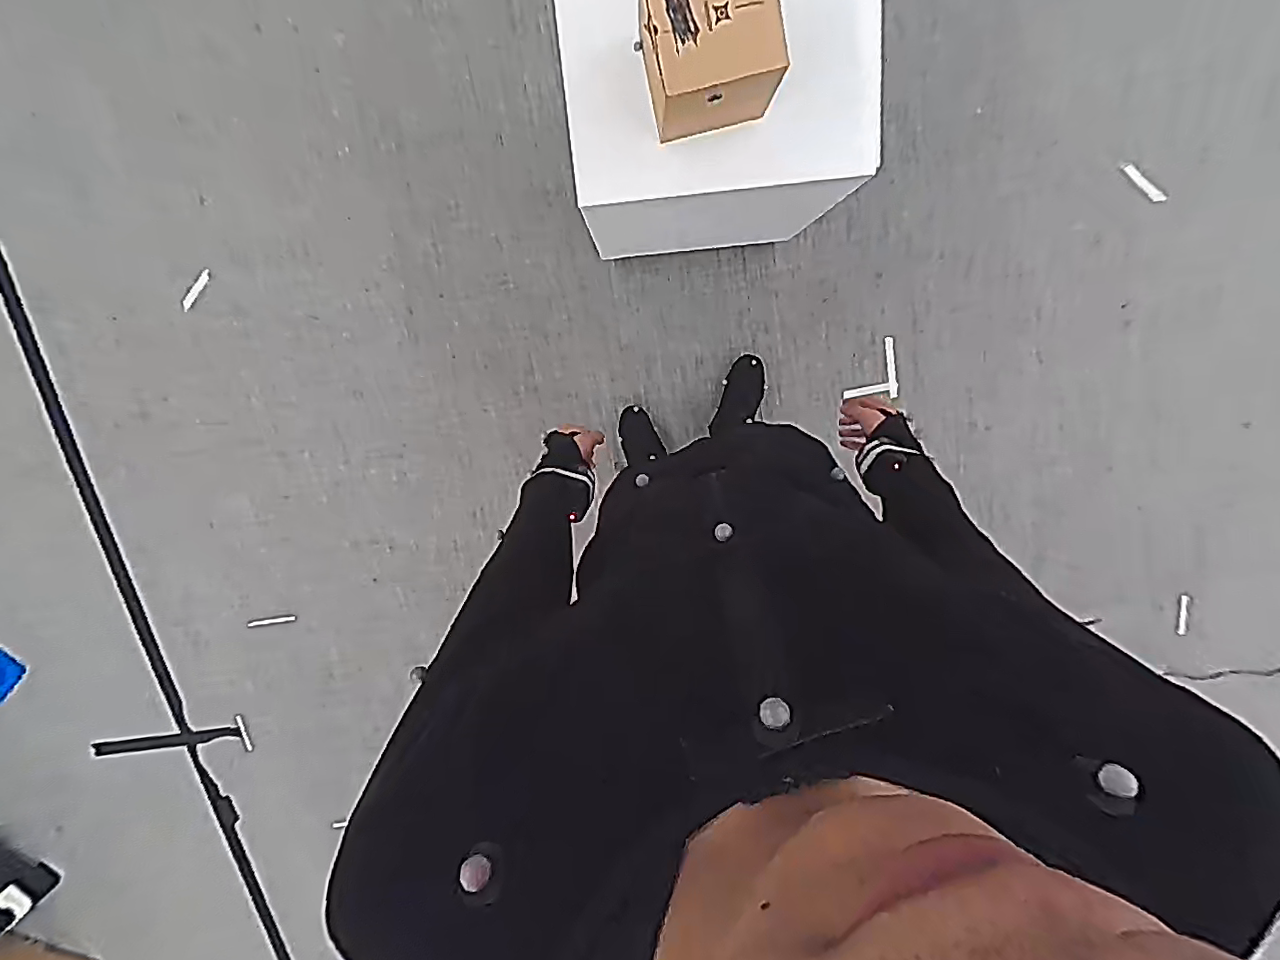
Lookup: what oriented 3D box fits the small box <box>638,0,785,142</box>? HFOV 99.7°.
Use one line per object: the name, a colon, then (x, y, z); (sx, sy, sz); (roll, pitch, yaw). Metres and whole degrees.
small box: (0.096, -0.633, 0.800); (0.179, 0.176, 0.168); (-13, 103, 2)
